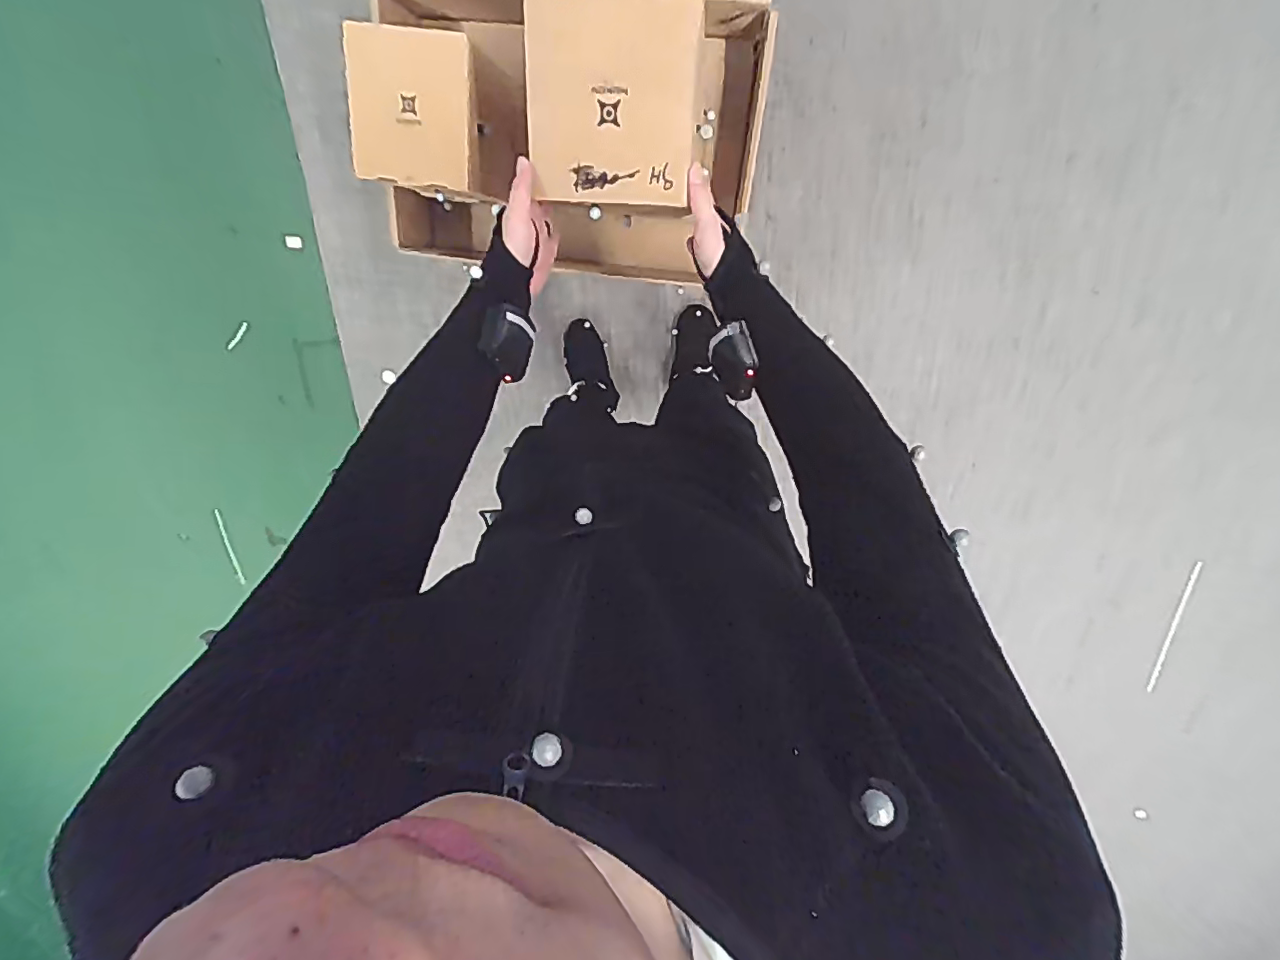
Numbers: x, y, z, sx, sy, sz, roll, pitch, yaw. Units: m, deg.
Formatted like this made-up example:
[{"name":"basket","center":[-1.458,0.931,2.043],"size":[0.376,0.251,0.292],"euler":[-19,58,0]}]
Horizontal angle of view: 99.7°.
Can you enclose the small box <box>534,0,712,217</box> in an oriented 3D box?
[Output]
[{"name":"small box","center":[-0.014,-0.395,0.593],"size":[0.168,0.176,0.179],"euler":[5,114,4]}]

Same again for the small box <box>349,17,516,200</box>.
[{"name":"small box","center":[-0.284,-0.515,0.775],"size":[0.168,0.176,0.179],"euler":[10,114,4]}]
